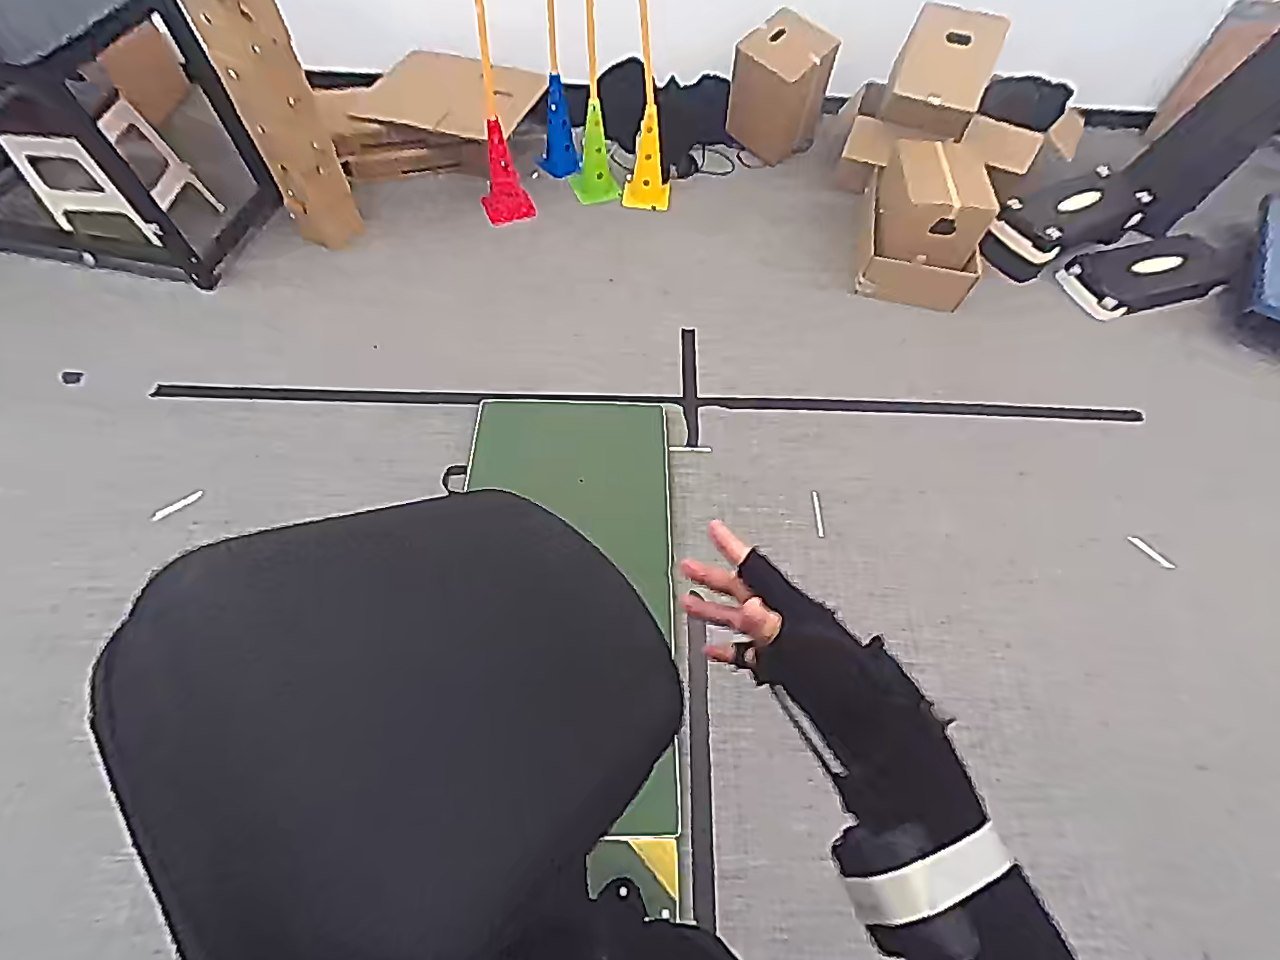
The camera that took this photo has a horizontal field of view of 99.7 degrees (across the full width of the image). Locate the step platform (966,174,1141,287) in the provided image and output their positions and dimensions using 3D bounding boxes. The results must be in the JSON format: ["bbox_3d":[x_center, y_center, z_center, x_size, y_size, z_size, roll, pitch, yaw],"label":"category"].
[{"bbox_3d":[1.754,-1.065,2.290,0.684,0.204,0.286,-25,65,-15],"label":"step platform"}]
